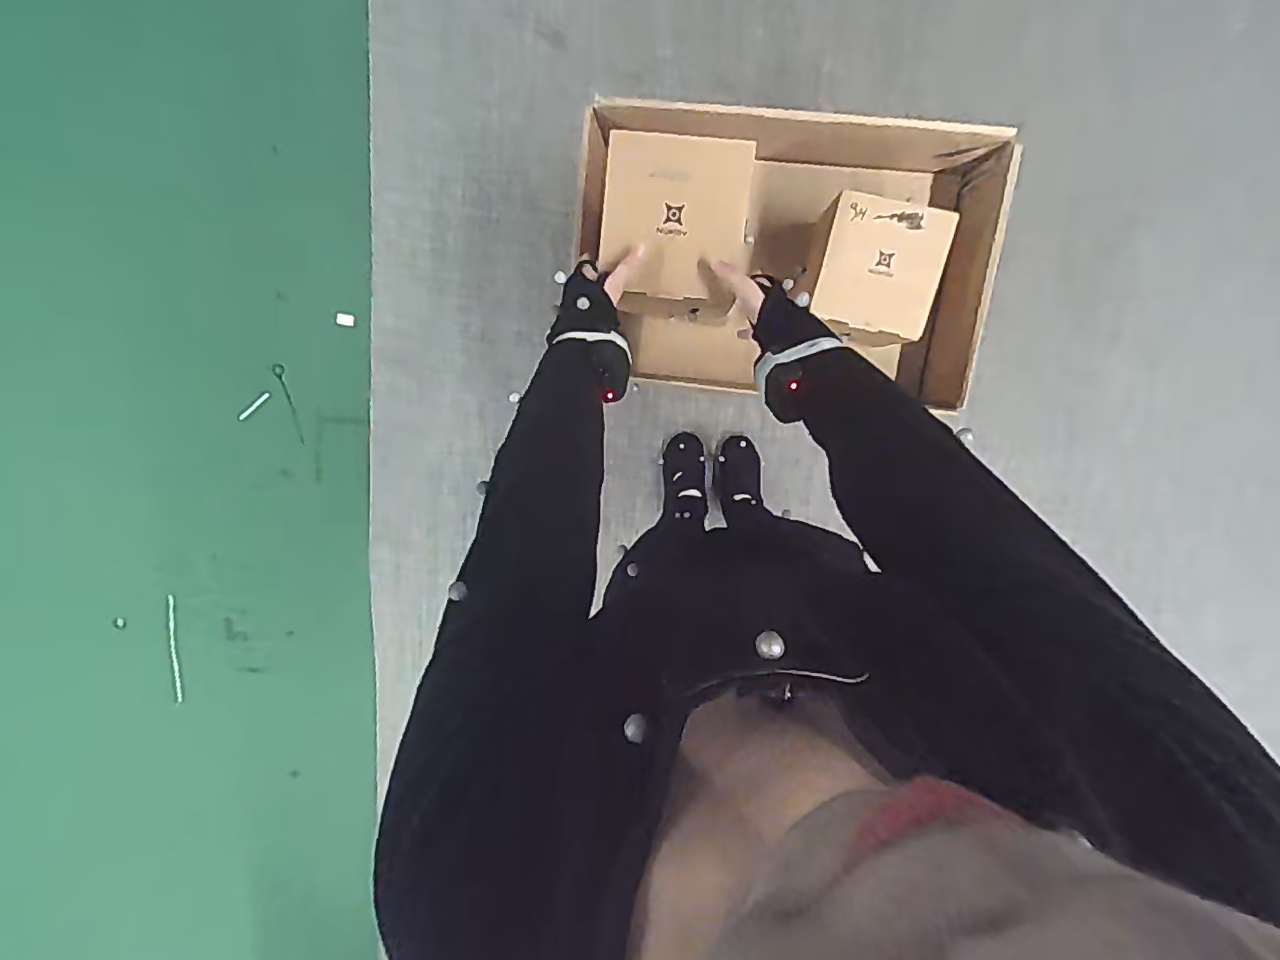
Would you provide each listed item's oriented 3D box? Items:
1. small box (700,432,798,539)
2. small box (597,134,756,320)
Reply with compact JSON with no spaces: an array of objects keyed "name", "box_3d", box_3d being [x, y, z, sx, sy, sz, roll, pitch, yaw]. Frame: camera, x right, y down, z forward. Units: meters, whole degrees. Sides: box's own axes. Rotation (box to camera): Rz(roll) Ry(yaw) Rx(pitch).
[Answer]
[{"name":"small box","box_3d":[0.267,0.017,1.379,0.179,0.176,0.168,-37,63,-21]},{"name":"small box","box_3d":[0.047,-0.310,0.698,0.168,0.176,0.179,7,100,4]}]
